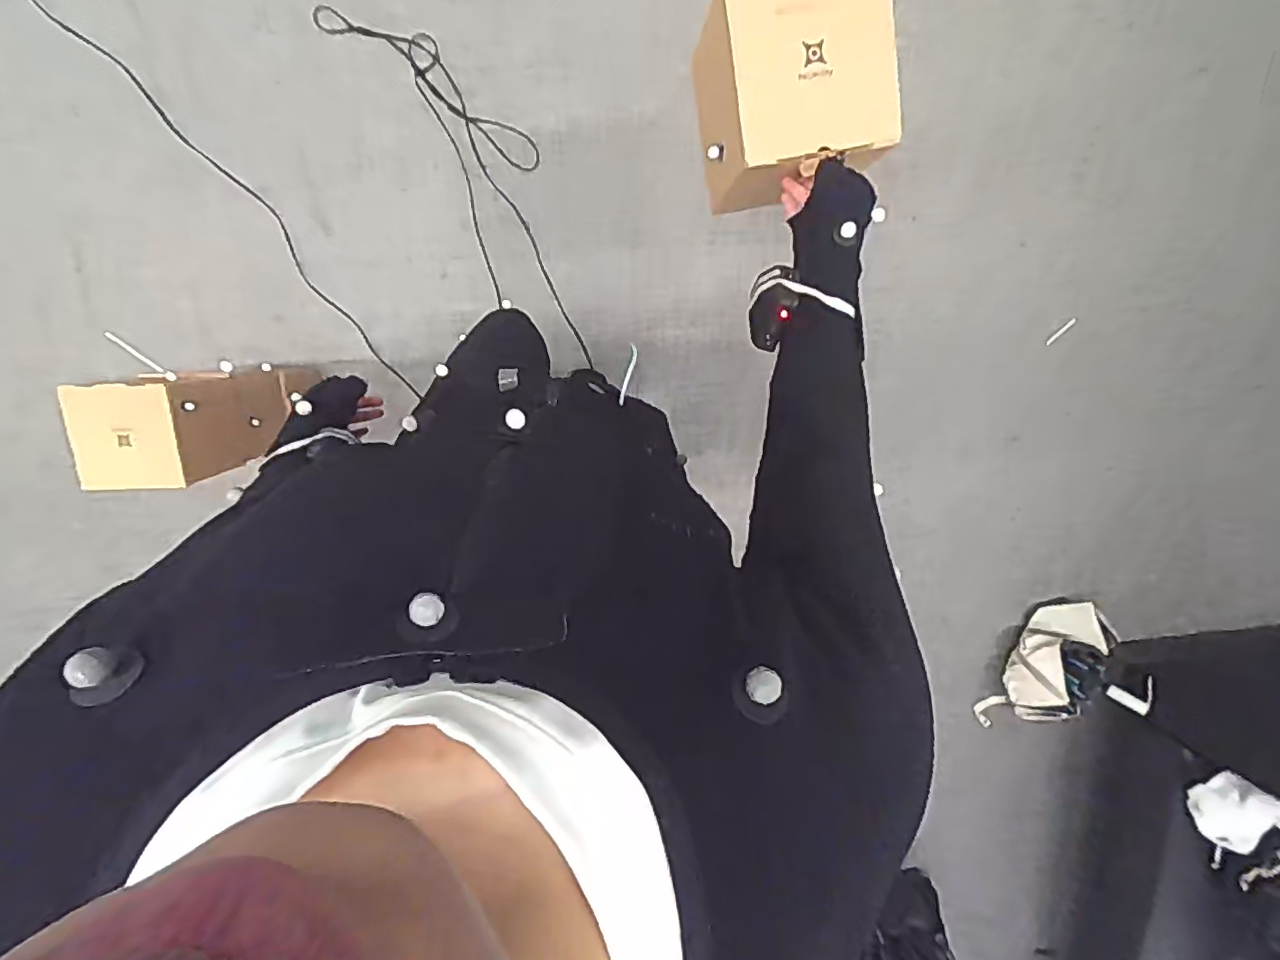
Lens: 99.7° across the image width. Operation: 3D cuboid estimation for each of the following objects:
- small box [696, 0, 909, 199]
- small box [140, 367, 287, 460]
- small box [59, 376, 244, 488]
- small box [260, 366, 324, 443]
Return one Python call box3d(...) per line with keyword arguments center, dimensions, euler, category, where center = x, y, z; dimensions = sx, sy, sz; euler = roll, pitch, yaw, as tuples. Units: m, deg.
box3d(center=(0.164, -0.425, 0.587), dimensions=(0.168, 0.176, 0.179), euler=(-11, 102, -3), category="small box")
box3d(center=(-0.865, -0.141, 1.118), dimensions=(0.168, 0.176, 0.179), euler=(-1, 104, -5), category="small box")
box3d(center=(-0.849, -0.092, 0.963), dimensions=(0.168, 0.176, 0.179), euler=(-2, 104, -5), category="small box")
box3d(center=(-0.874, -0.182, 1.277), dimensions=(0.179, 0.176, 0.168), euler=(-2, 104, -5), category="small box")
